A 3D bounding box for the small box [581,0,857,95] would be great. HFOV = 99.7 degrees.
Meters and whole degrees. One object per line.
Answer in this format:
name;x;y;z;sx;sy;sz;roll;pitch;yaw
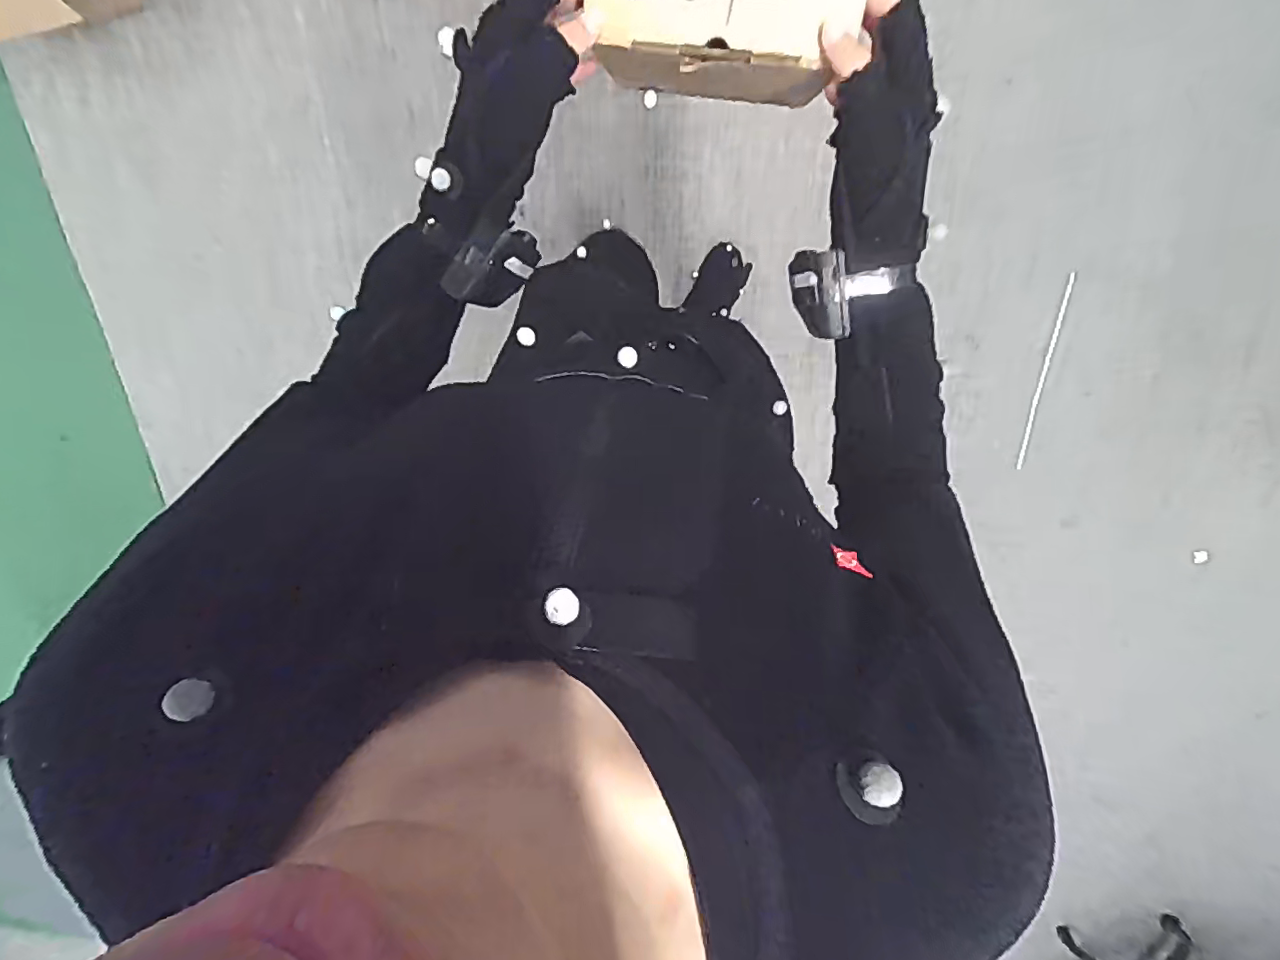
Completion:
small box;0.061;-0.378;0.360;0.168;0.176;0.179;7;117;3
